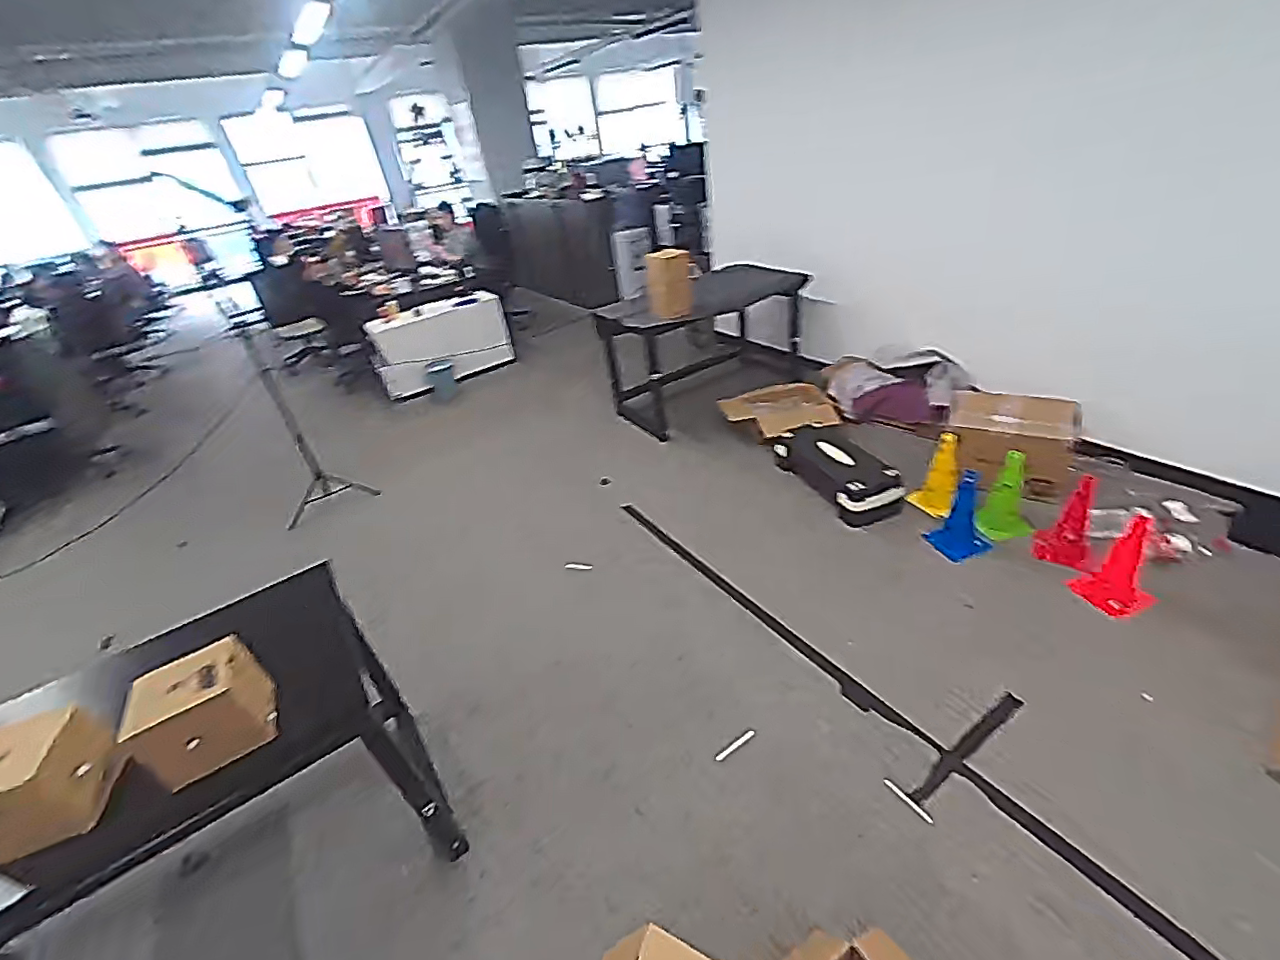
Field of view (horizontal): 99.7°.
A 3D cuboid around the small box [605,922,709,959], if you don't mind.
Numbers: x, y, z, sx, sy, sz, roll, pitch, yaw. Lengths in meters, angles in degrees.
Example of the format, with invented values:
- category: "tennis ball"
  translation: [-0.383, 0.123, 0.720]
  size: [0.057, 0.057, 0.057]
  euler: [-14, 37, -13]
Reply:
- category: "small box"
  translation: [0.024, 0.590, 0.532]
  size: [0.179, 0.176, 0.168]
  euler: [26, 37, 6]

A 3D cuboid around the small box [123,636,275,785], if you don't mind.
- category: "small box"
  translation: [-0.860, 0.457, 1.079]
  size: [0.179, 0.176, 0.168]
  euler: [-26, 36, -21]

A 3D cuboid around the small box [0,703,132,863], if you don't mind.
- category: "small box"
  translation: [-1.109, 0.556, 0.997]
  size: [0.179, 0.176, 0.168]
  euler: [-19, 34, -12]
